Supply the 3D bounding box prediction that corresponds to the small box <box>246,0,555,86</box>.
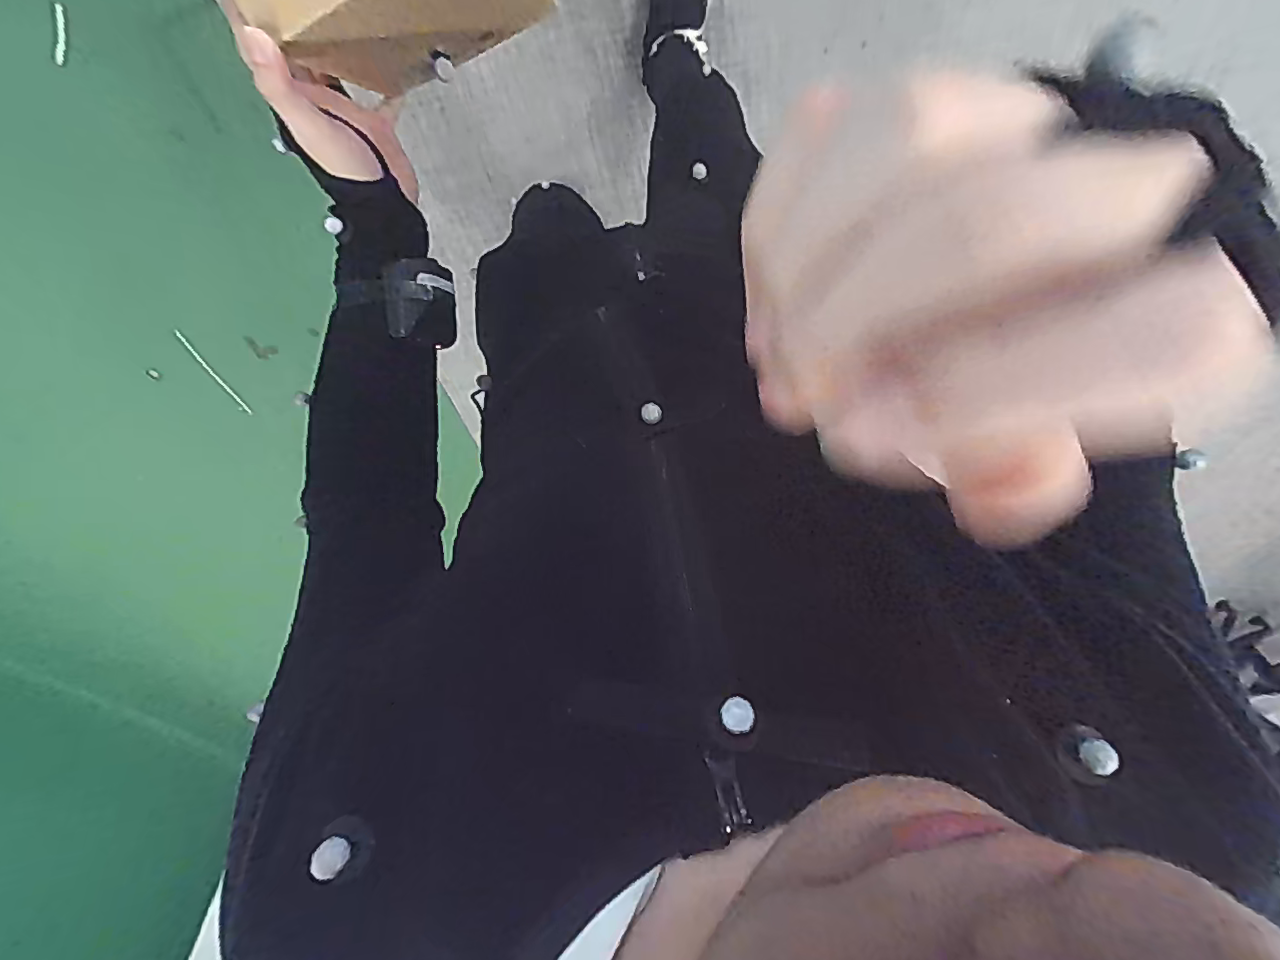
[{"bbox_3d":[-0.176,-0.405,0.356,0.168,0.176,0.179,-16,114,15],"label":"small box"}]
